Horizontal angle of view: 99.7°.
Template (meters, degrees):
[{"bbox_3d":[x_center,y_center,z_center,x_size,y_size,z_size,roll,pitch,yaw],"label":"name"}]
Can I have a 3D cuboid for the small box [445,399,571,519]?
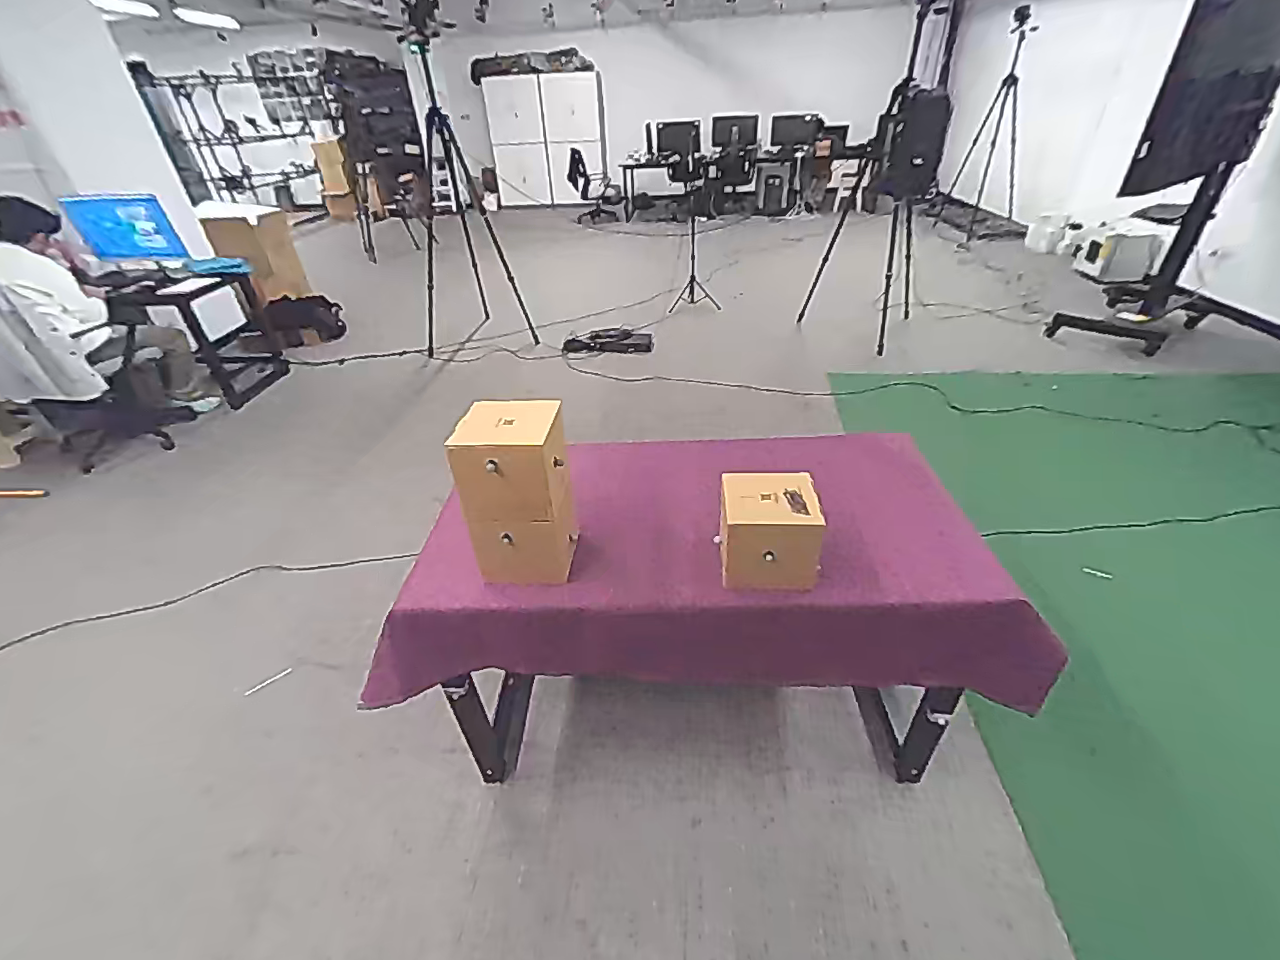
[{"bbox_3d":[-0.234,-0.039,1.018,0.179,0.176,0.168,-1,35,6],"label":"small box"}]

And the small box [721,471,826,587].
[{"bbox_3d":[0.253,0.097,1.066,0.179,0.176,0.168,-1,35,6],"label":"small box"}]

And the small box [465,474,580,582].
[{"bbox_3d":[-0.231,0.094,1.112,0.179,0.176,0.168,1,36,6],"label":"small box"}]
